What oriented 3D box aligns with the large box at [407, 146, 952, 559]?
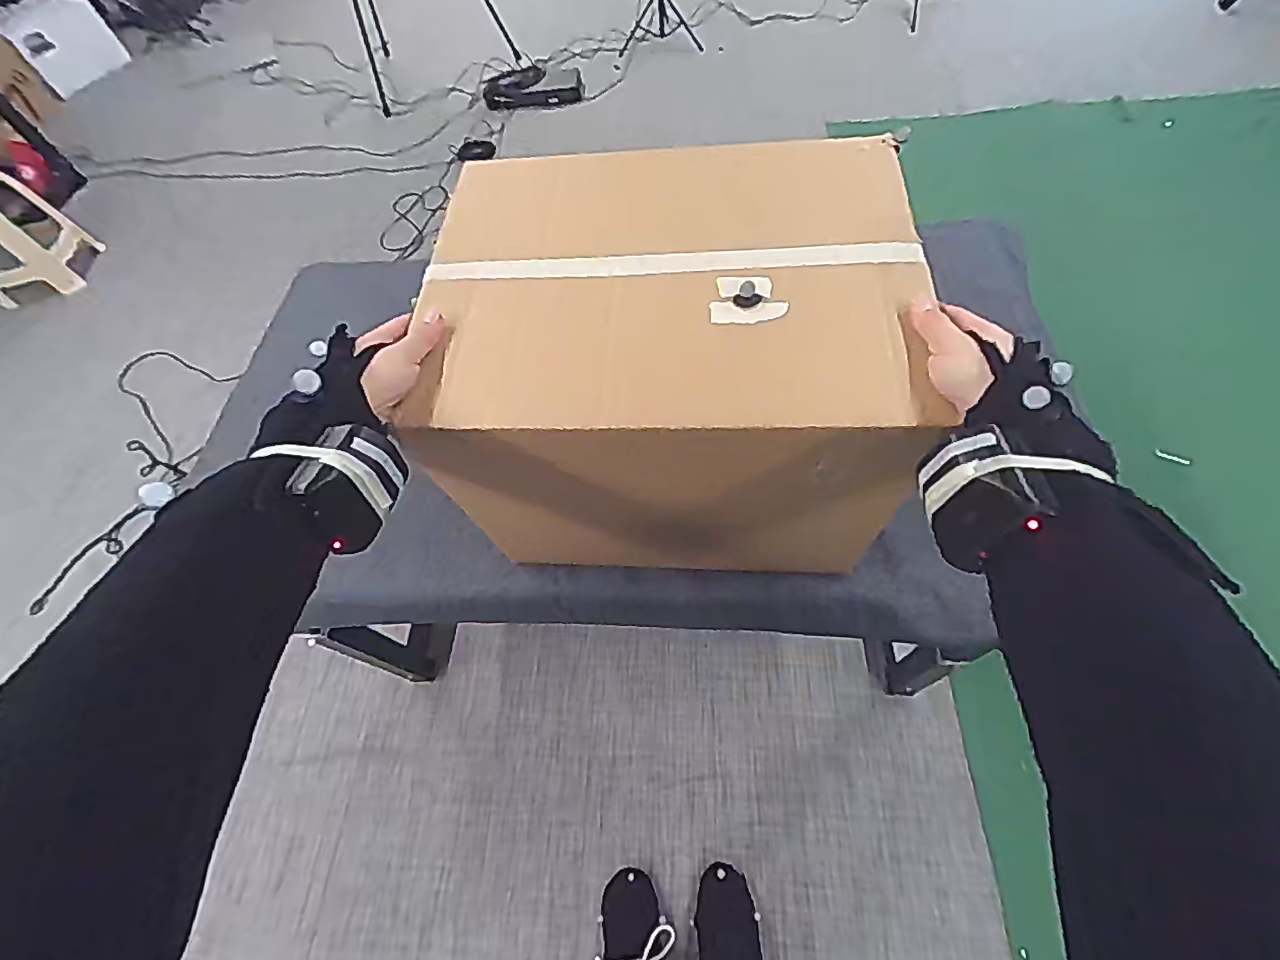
[{"bbox_3d":[0.036,-0.109,0.588,0.408,0.320,0.320,0,63,6],"label":"large box"}]
